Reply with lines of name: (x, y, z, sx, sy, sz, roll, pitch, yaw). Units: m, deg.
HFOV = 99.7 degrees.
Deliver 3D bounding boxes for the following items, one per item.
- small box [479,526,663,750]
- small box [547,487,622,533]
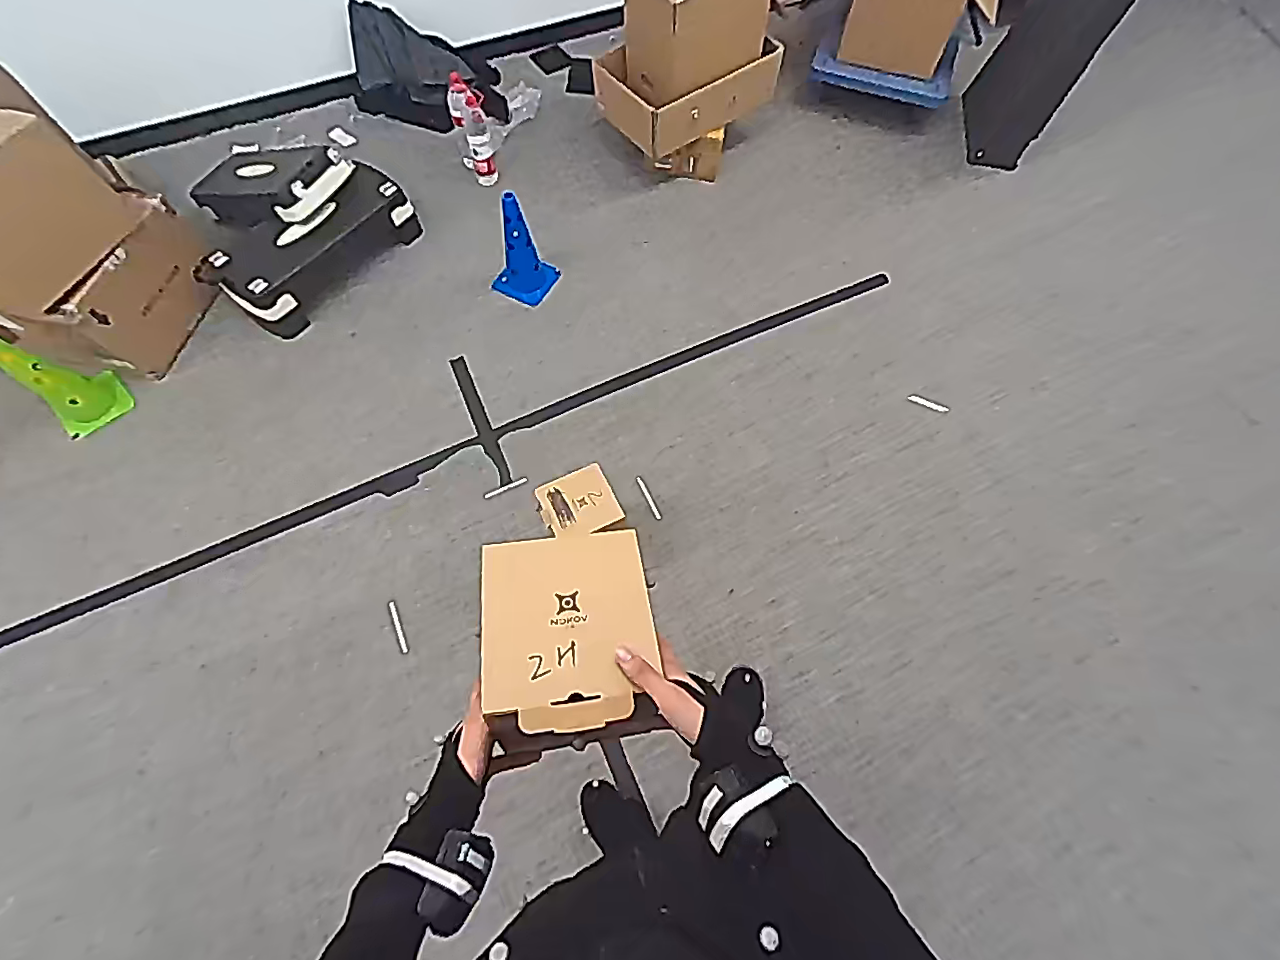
small box: (-0.077, 0.172, 0.589, 0.168, 0.176, 0.179, -5, 53, -9)
small box: (-0.143, 0.154, 1.531, 0.168, 0.176, 0.179, -27, 69, -12)
